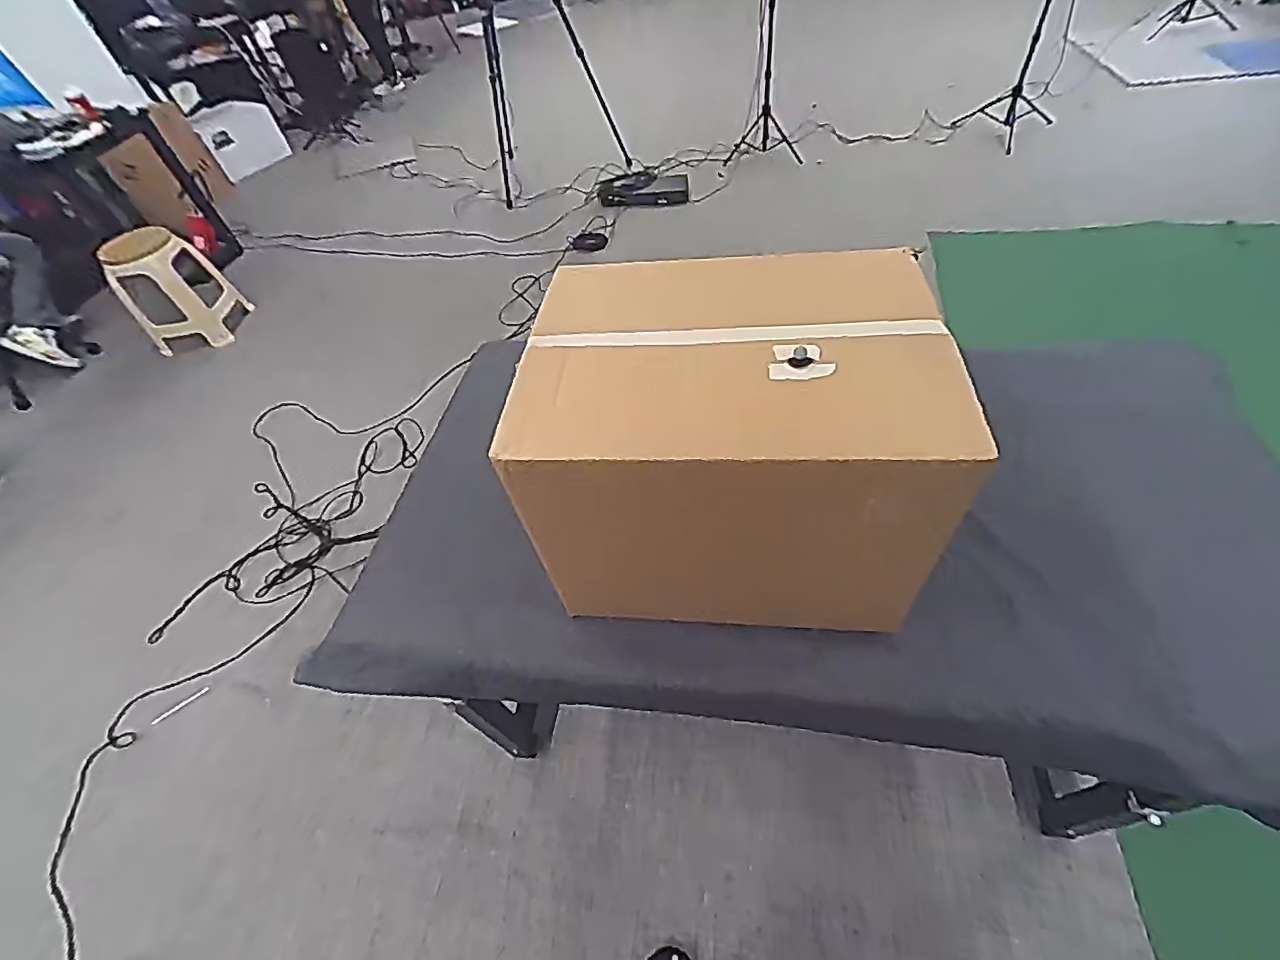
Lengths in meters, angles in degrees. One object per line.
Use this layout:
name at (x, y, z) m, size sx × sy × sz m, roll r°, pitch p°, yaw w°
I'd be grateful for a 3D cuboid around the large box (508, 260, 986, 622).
large box at (0.103, -0.039, 0.655) m, size 0.408 × 0.320 × 0.320 m, roll 1°, pitch 52°, yaw 8°
